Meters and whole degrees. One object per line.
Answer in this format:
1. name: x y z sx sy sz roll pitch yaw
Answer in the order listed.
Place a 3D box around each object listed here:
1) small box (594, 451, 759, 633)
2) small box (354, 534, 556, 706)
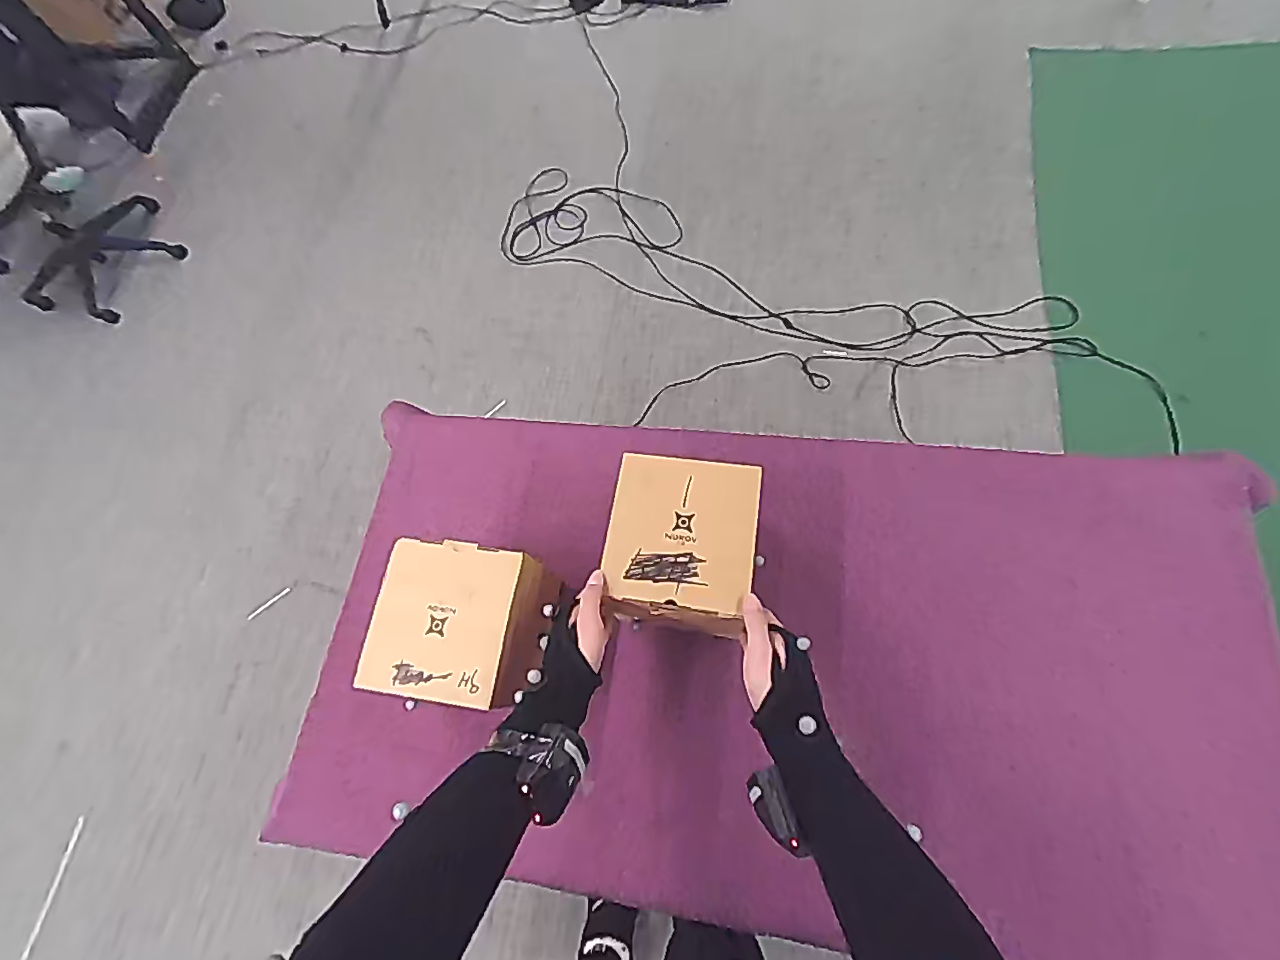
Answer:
1. small box: 0.052 0.085 0.678 0.168 0.176 0.179 7 67 9
2. small box: -0.218 0.184 0.693 0.168 0.176 0.179 6 69 11
